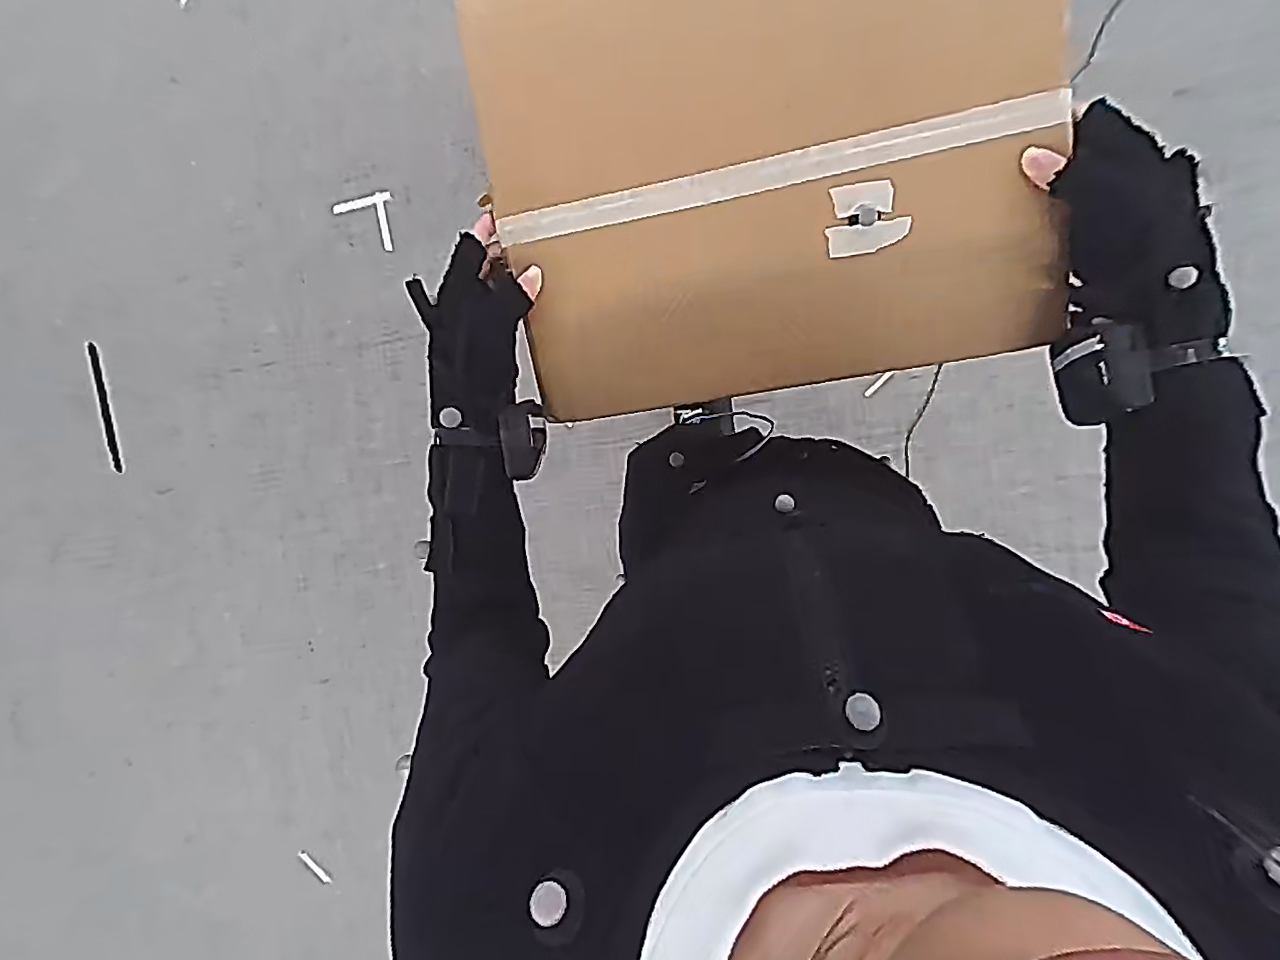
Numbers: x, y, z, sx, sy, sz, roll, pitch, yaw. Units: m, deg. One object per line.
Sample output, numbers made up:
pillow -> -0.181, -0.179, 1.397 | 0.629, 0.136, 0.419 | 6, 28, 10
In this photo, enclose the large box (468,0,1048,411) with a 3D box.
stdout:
large box -> 0.105, -0.273, 0.552 | 0.408, 0.320, 0.320 | -8, 105, 9
